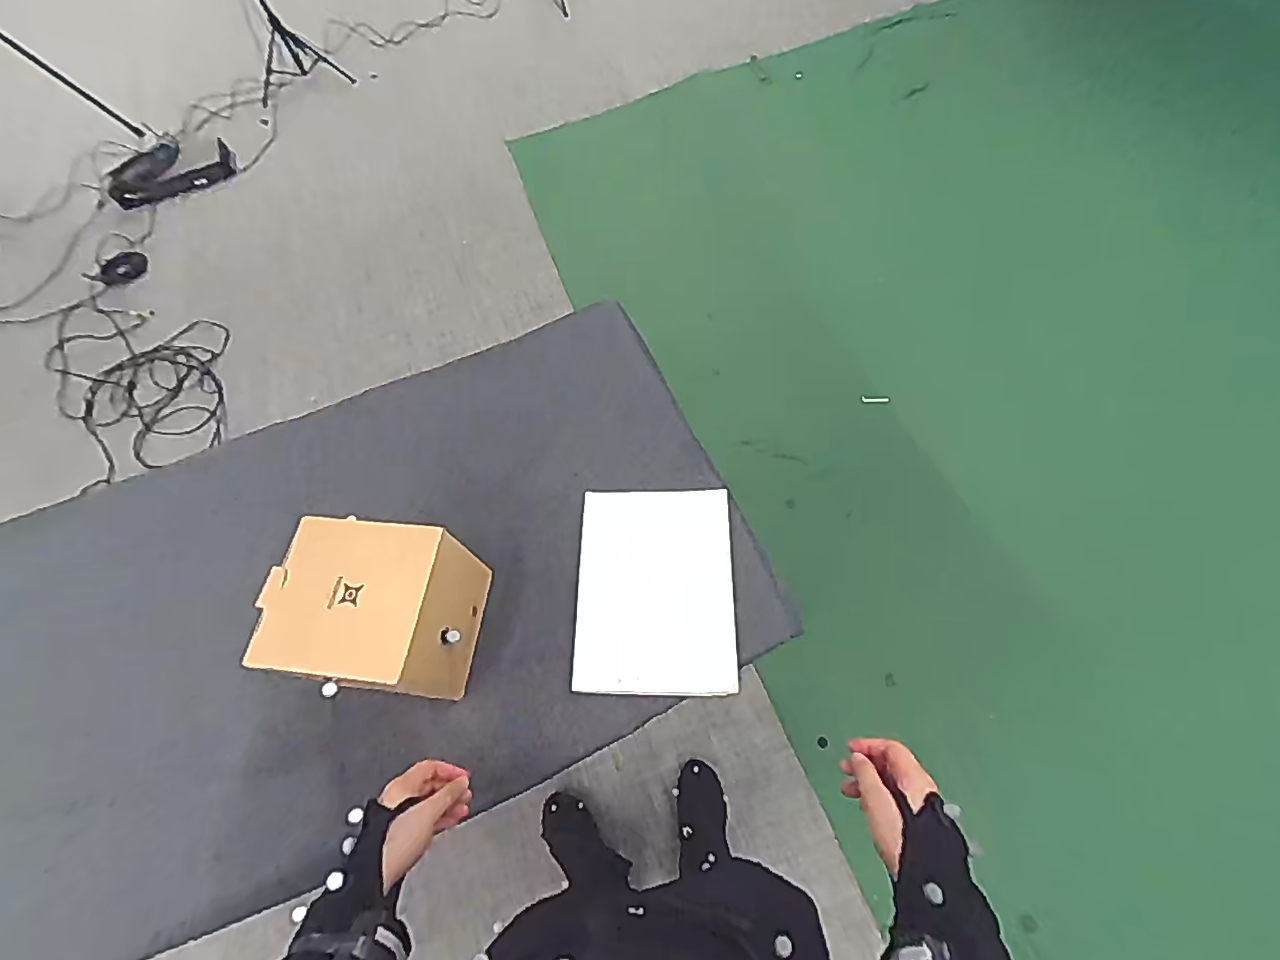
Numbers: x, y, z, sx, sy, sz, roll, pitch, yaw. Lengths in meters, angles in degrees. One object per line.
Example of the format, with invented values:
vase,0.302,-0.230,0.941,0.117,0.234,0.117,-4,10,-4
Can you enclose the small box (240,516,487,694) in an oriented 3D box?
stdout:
small box,-0.301,0.153,0.636,0.179,0.176,0.168,3,65,8
